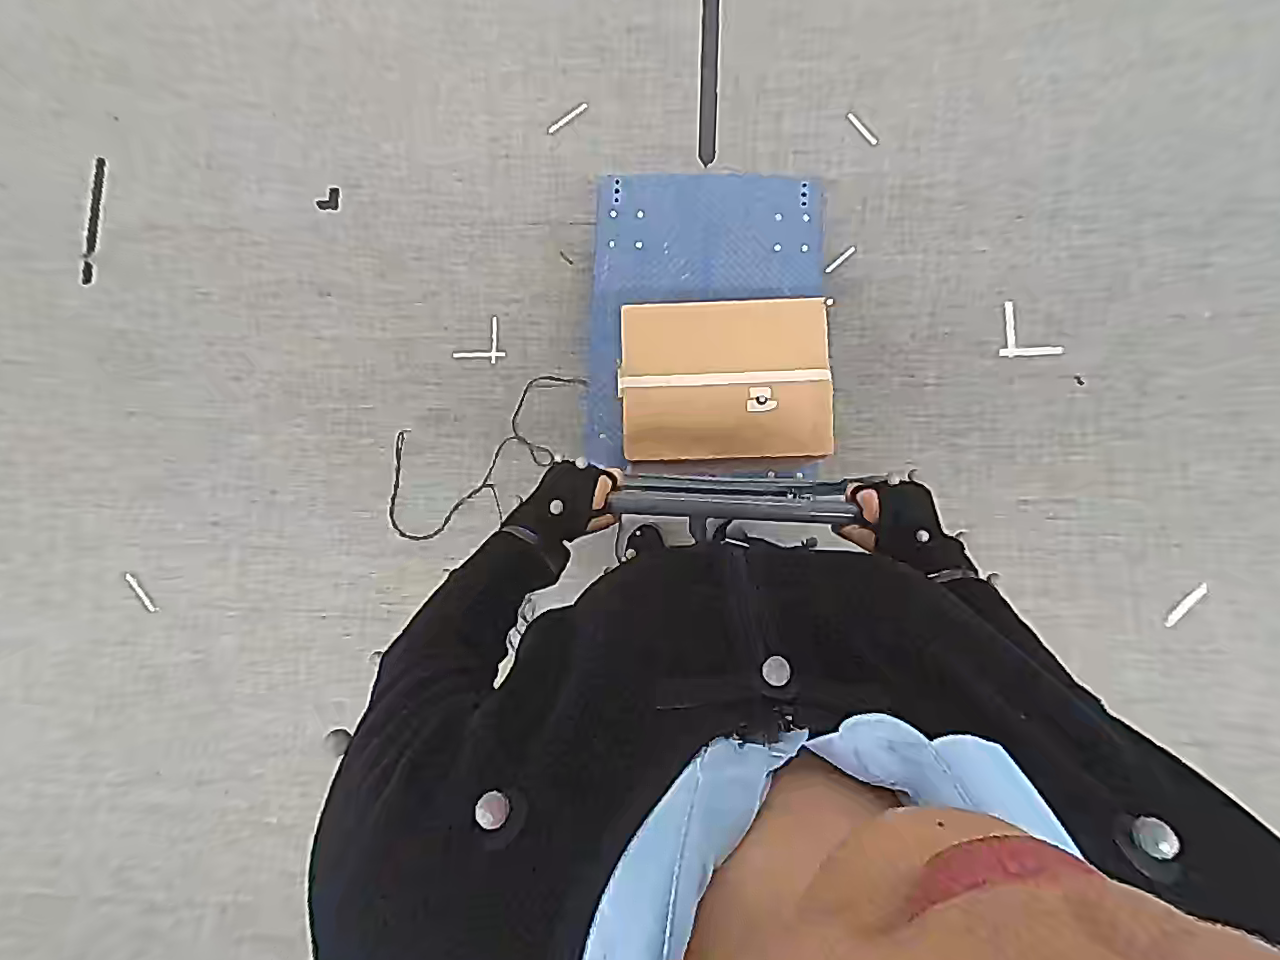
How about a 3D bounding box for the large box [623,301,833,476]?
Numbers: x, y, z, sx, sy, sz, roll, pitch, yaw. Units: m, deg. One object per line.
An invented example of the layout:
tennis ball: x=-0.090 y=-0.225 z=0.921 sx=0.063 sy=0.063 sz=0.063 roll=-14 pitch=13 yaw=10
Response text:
large box: x=0.174 y=-0.183 z=1.211 sx=0.408 sy=0.320 sz=0.320 roll=-2 pitch=87 yaw=1
